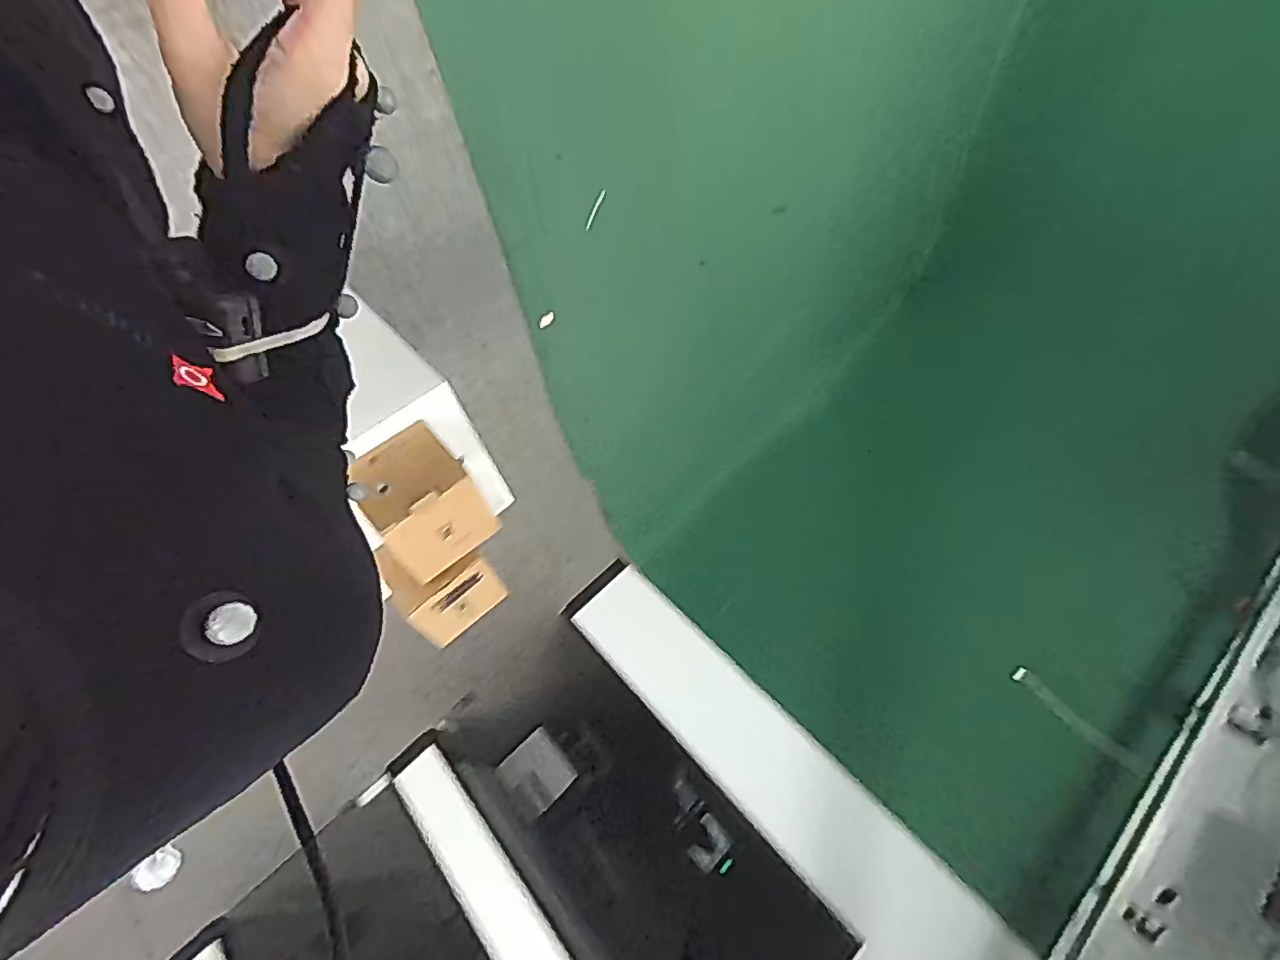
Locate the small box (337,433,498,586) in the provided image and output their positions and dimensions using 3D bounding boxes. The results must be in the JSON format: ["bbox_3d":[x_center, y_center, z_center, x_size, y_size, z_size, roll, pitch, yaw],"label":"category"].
[{"bbox_3d":[-0.378,0.043,0.926,0.168,0.176,0.179,-37,152,-19],"label":"small box"}]
